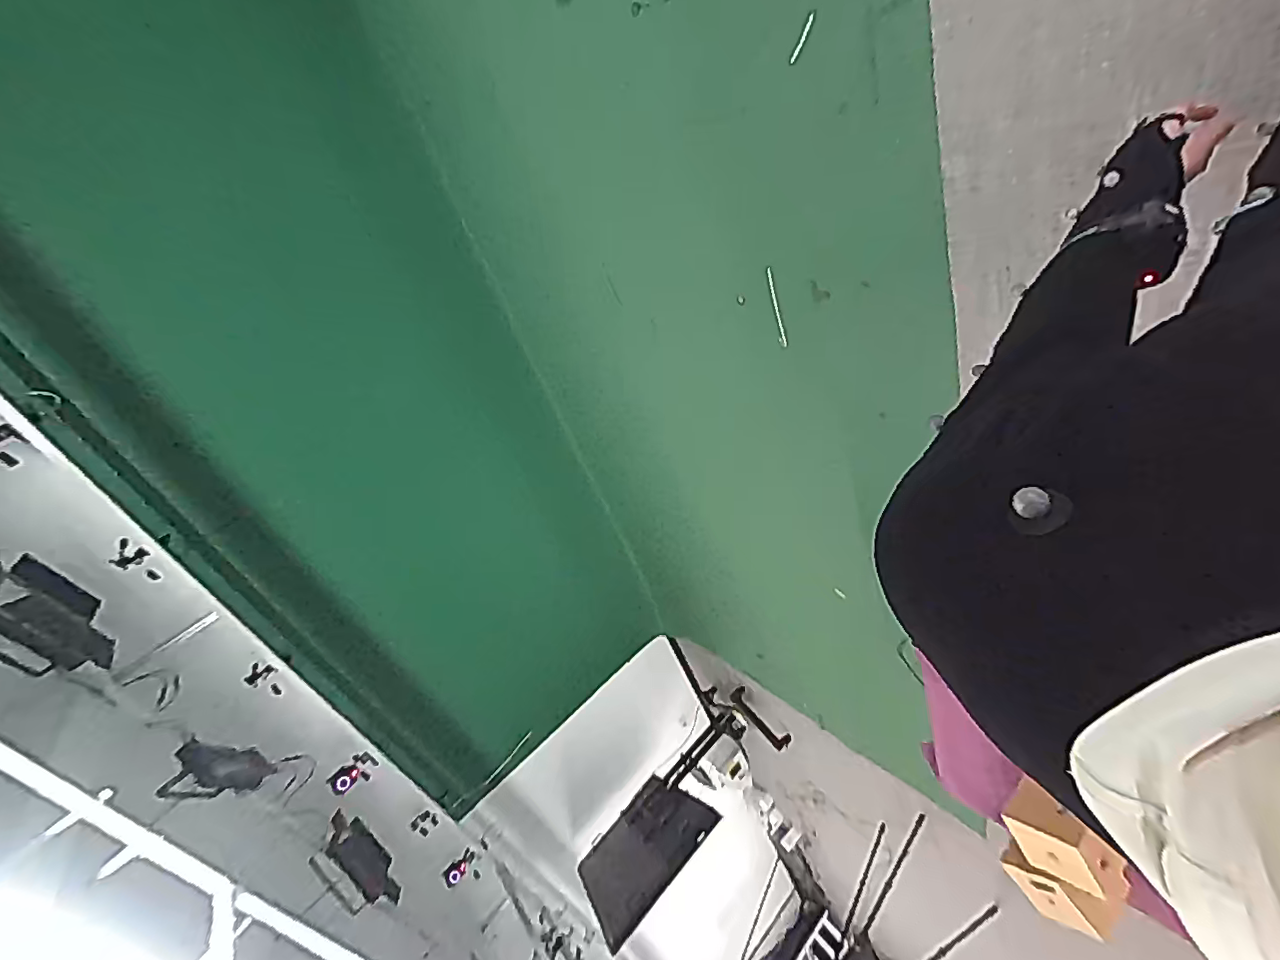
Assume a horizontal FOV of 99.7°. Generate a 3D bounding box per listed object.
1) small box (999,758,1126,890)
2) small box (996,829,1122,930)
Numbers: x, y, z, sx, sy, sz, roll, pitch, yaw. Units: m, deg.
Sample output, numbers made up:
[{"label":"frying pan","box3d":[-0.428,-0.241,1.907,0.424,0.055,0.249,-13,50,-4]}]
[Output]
[{"label":"small box","box3d":[1.016,0.813,1.300,0.179,0.176,0.168,56,156,-10]},{"label":"small box","box3d":[1.095,1.000,1.415,0.179,0.176,0.168,50,156,3]}]
